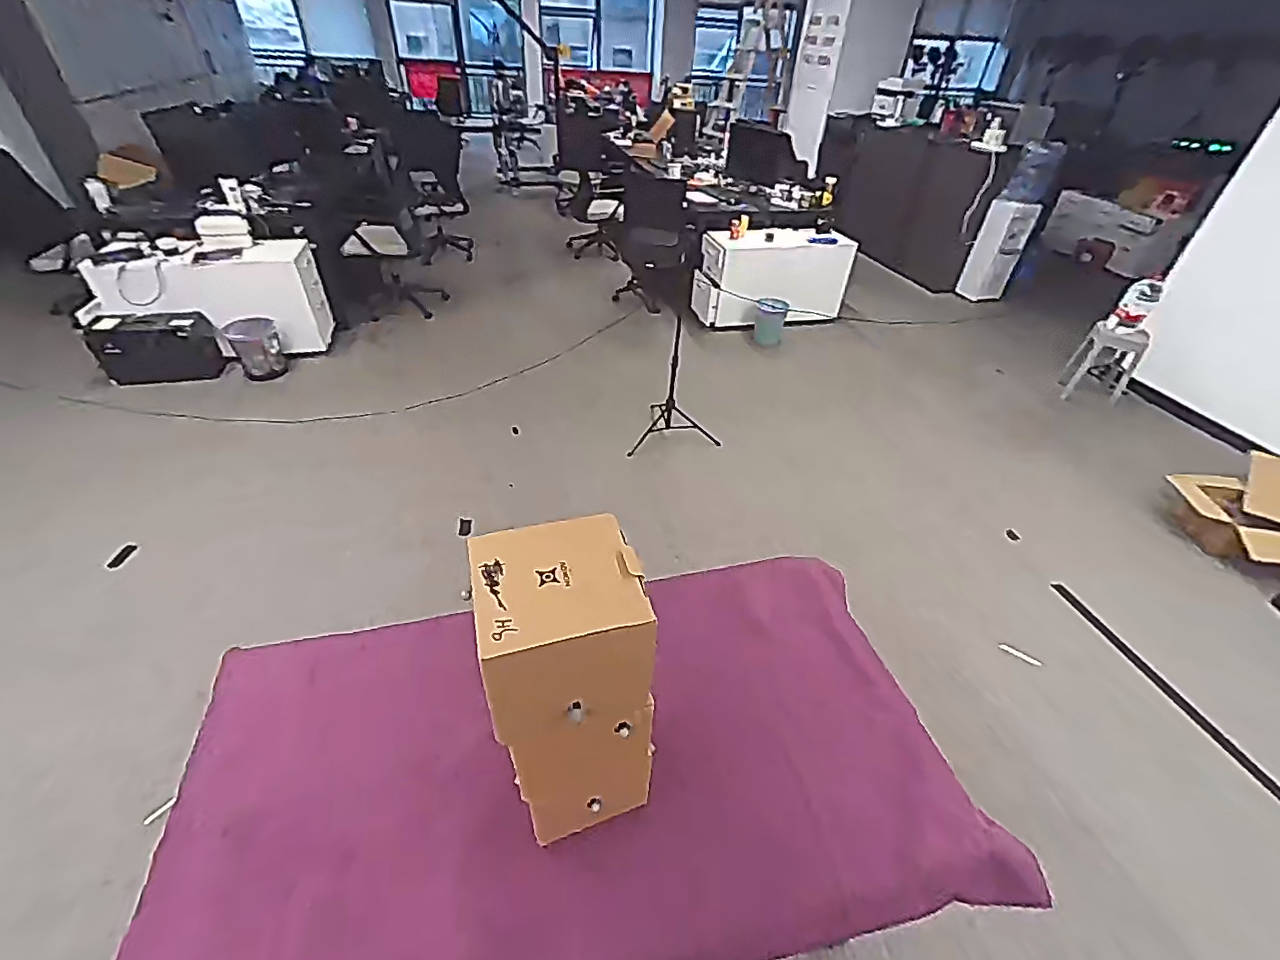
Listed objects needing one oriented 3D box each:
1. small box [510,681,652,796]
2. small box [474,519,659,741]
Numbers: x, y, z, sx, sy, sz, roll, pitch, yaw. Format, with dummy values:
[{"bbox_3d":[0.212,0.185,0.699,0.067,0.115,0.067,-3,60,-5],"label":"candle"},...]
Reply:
[{"bbox_3d":[-0.091,0.295,0.733,0.179,0.176,0.168,-8,40,-15],"label":"small box"},{"bbox_3d":[-0.090,0.170,0.627,0.179,0.176,0.168,-8,39,-15],"label":"small box"}]
